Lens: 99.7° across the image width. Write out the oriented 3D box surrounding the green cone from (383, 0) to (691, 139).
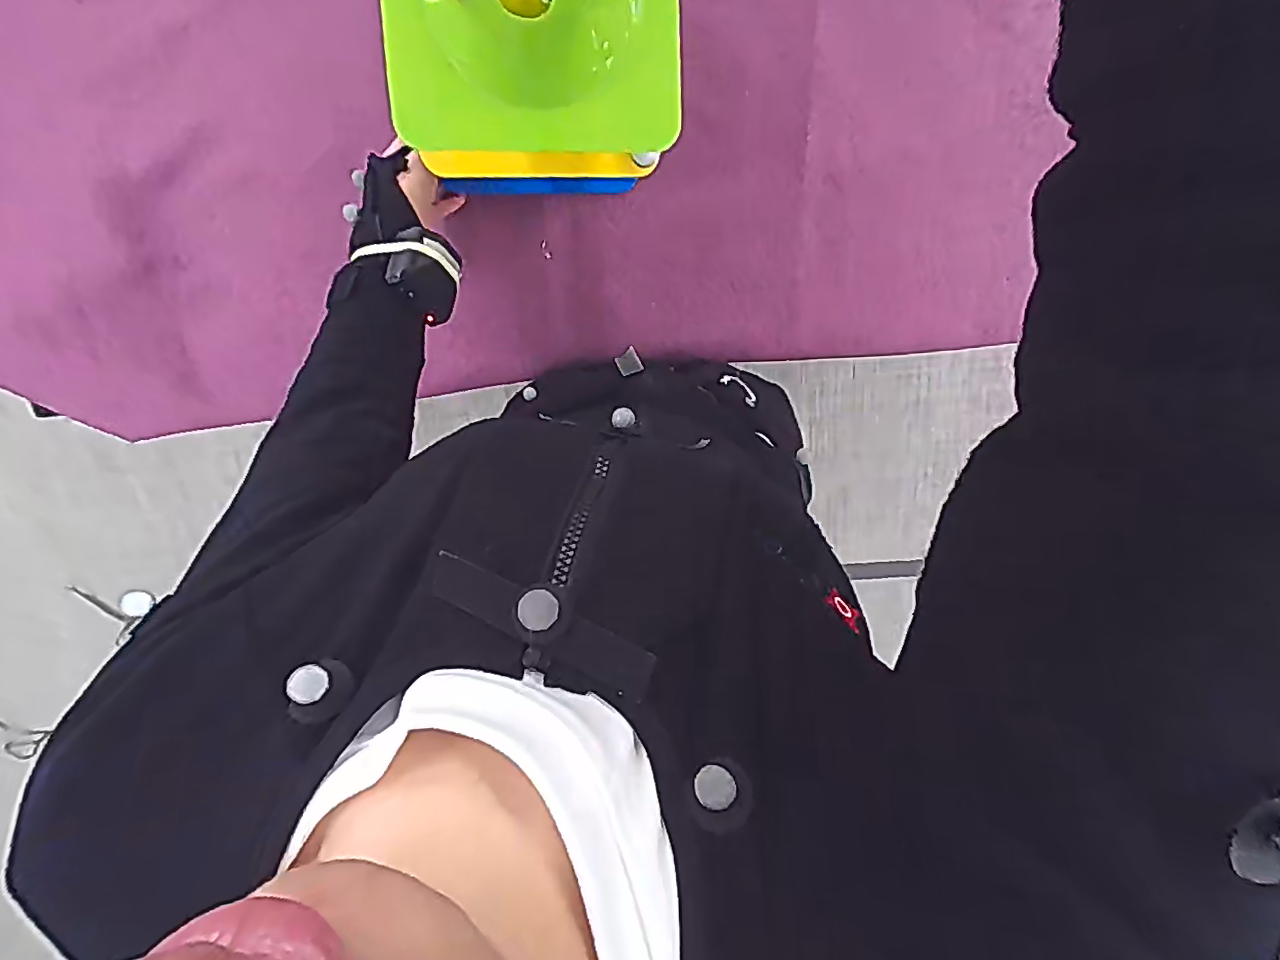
[{"bbox_3d":[-0.048,-0.303,0.183,0.200,0.368,0.202,-3,100,-6],"label":"green cone"}]
